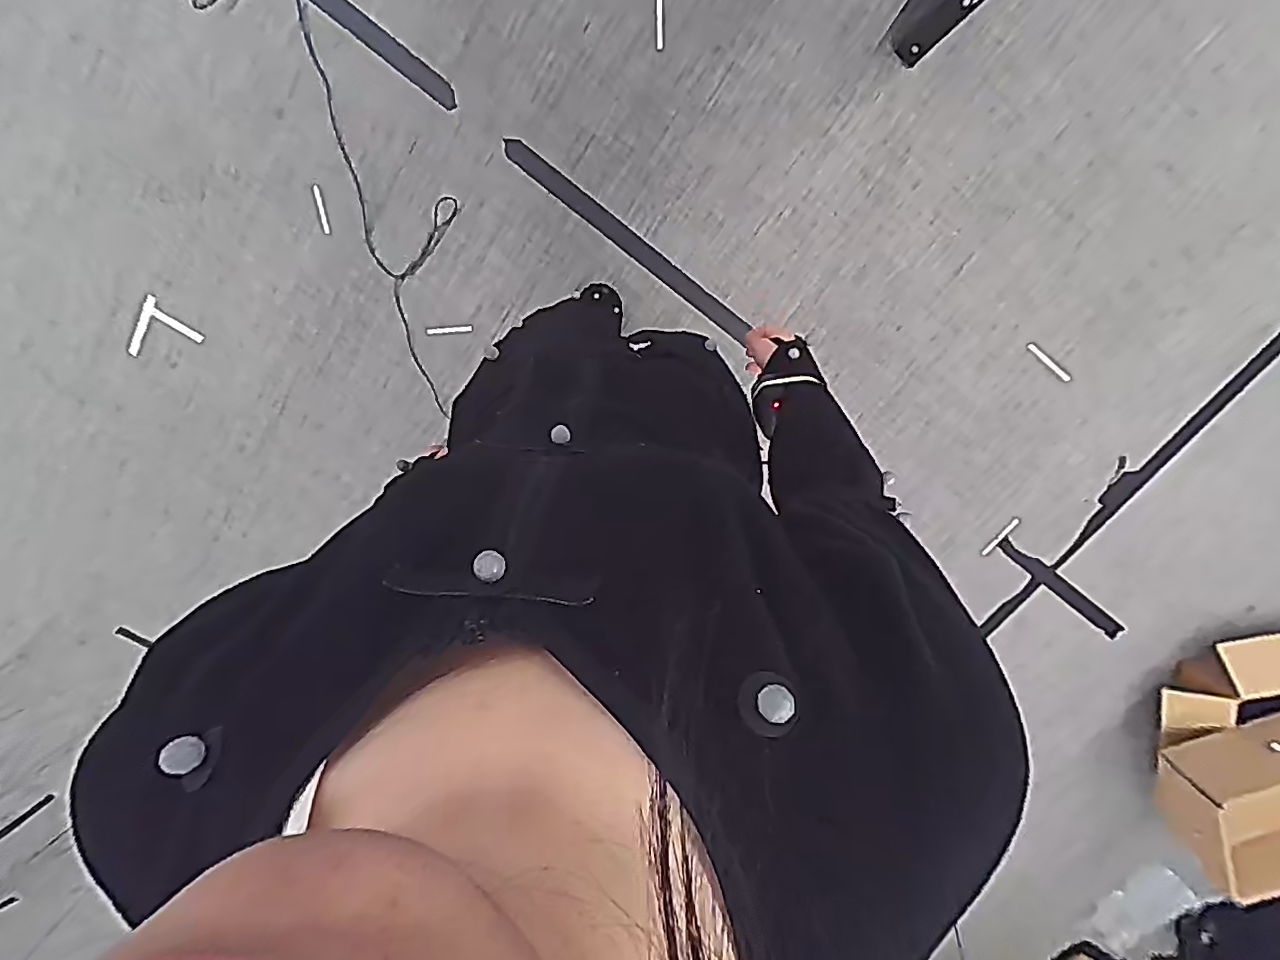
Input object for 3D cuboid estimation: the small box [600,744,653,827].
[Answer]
[{"bbox_3d":[-0.041,0.984,1.751,0.168,0.176,0.179,-1,109,2],"label":"small box"}]
